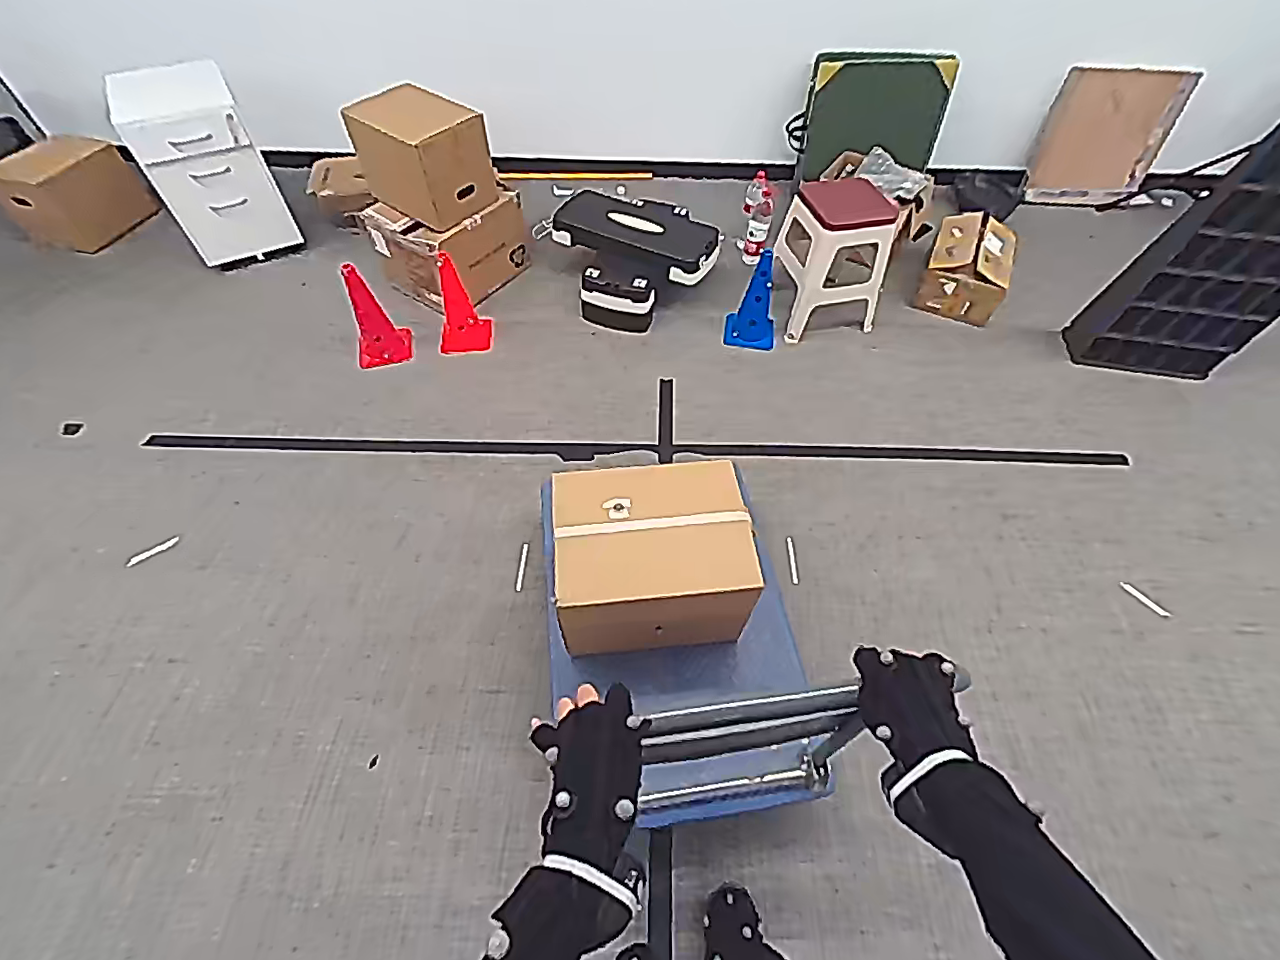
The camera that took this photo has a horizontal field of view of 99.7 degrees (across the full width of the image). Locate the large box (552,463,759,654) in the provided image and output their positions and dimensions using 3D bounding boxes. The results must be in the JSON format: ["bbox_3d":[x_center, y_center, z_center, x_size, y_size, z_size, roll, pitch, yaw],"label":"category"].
[{"bbox_3d":[0.021,0.189,1.252,0.408,0.320,0.320,-5,55,-4],"label":"large box"}]
